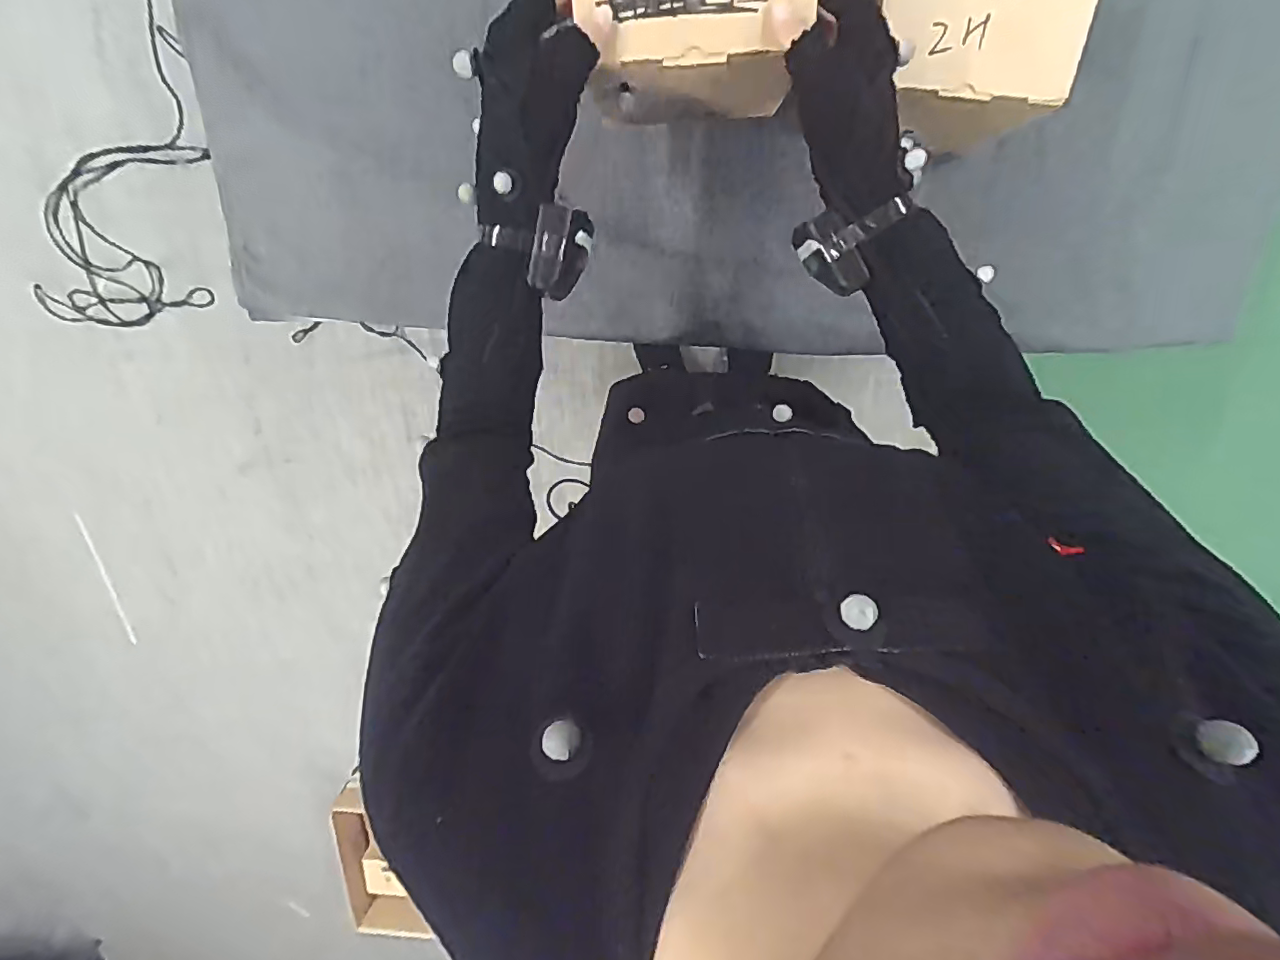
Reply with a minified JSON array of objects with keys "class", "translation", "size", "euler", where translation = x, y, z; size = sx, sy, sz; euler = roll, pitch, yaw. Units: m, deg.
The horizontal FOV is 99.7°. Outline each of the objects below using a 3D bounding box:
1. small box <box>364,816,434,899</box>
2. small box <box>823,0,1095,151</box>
[{"class":"small box","translation":[-0.834,1.310,1.885],"size":[0.168,0.176,0.179],"euler":[6,111,2]},{"class":"small box","translation":[0.280,-0.426,0.493],"size":[0.168,0.176,0.179],"euler":[6,110,2]}]
